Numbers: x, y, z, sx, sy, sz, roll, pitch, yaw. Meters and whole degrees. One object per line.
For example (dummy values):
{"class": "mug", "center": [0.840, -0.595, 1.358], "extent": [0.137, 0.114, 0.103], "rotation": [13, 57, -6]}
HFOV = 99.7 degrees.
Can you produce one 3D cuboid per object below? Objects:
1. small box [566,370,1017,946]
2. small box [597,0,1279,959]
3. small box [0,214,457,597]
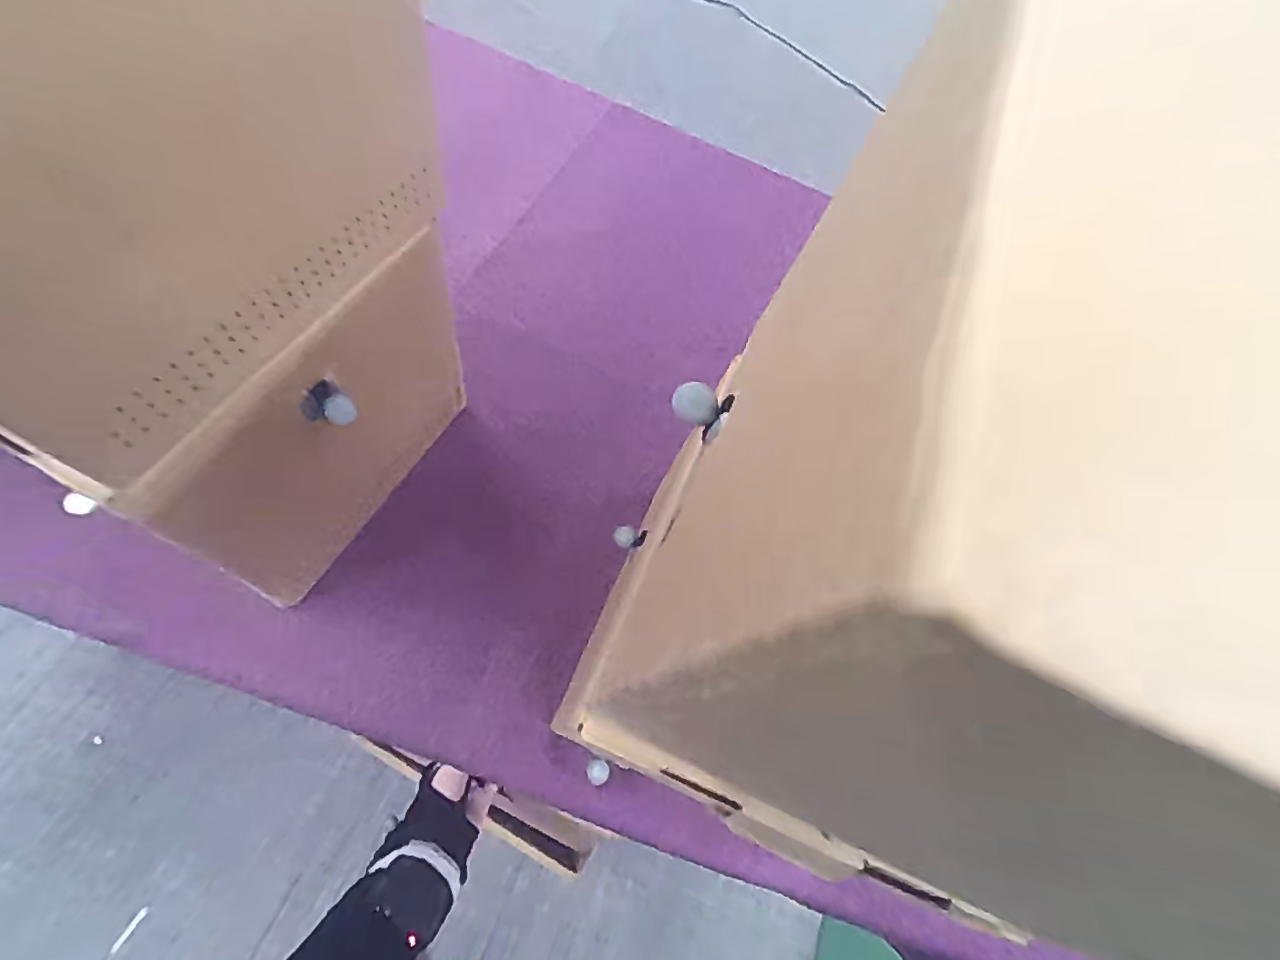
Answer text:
{"class": "small box", "center": [0.069, 0.083, 0.287], "extent": [0.168, 0.176, 0.179], "rotation": [26, 63, 0]}
{"class": "small box", "center": [0.106, 0.018, 0.142], "extent": [0.179, 0.176, 0.168], "rotation": [26, 63, 1]}
{"class": "small box", "center": [-0.217, -0.062, 0.291], "extent": [0.168, 0.176, 0.179], "rotation": [30, 65, 2]}
